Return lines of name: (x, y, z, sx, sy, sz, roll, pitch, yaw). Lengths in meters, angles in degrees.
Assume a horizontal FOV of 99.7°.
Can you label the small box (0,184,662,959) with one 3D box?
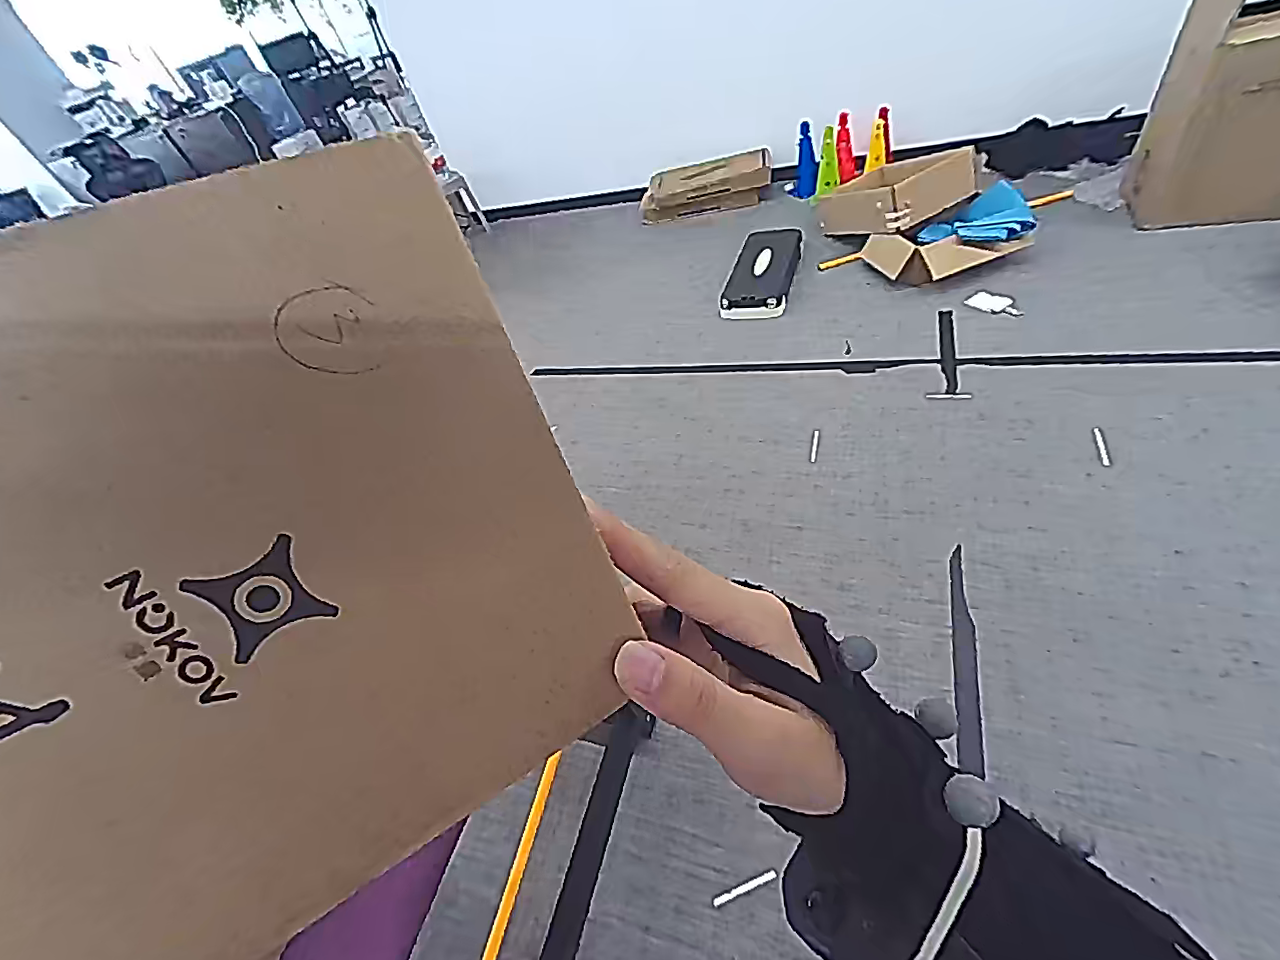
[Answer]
small box: (-0.124, 0.023, 0.204, 0.179, 0.168, 0.176, -28, 17, -18)
